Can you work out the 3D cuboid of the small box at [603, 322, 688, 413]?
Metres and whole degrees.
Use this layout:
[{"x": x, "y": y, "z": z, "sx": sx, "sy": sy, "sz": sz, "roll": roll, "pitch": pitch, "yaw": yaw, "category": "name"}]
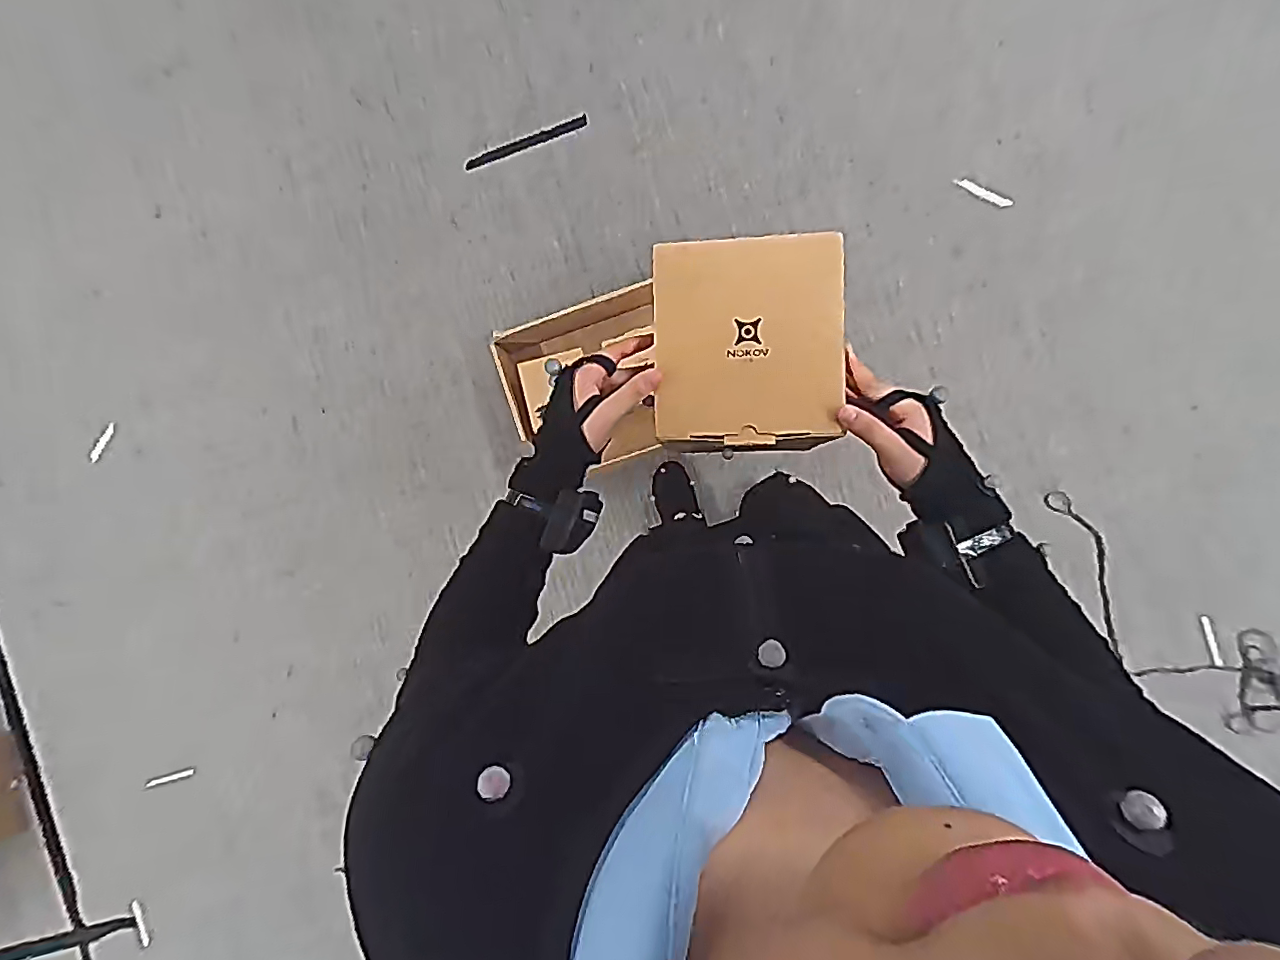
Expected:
[{"x": 0.020, "y": -0.276, "z": 1.377, "sx": 0.168, "sy": 0.176, "sz": 0.179, "roll": -19, "pitch": 90, "yaw": 3, "category": "small box"}]
